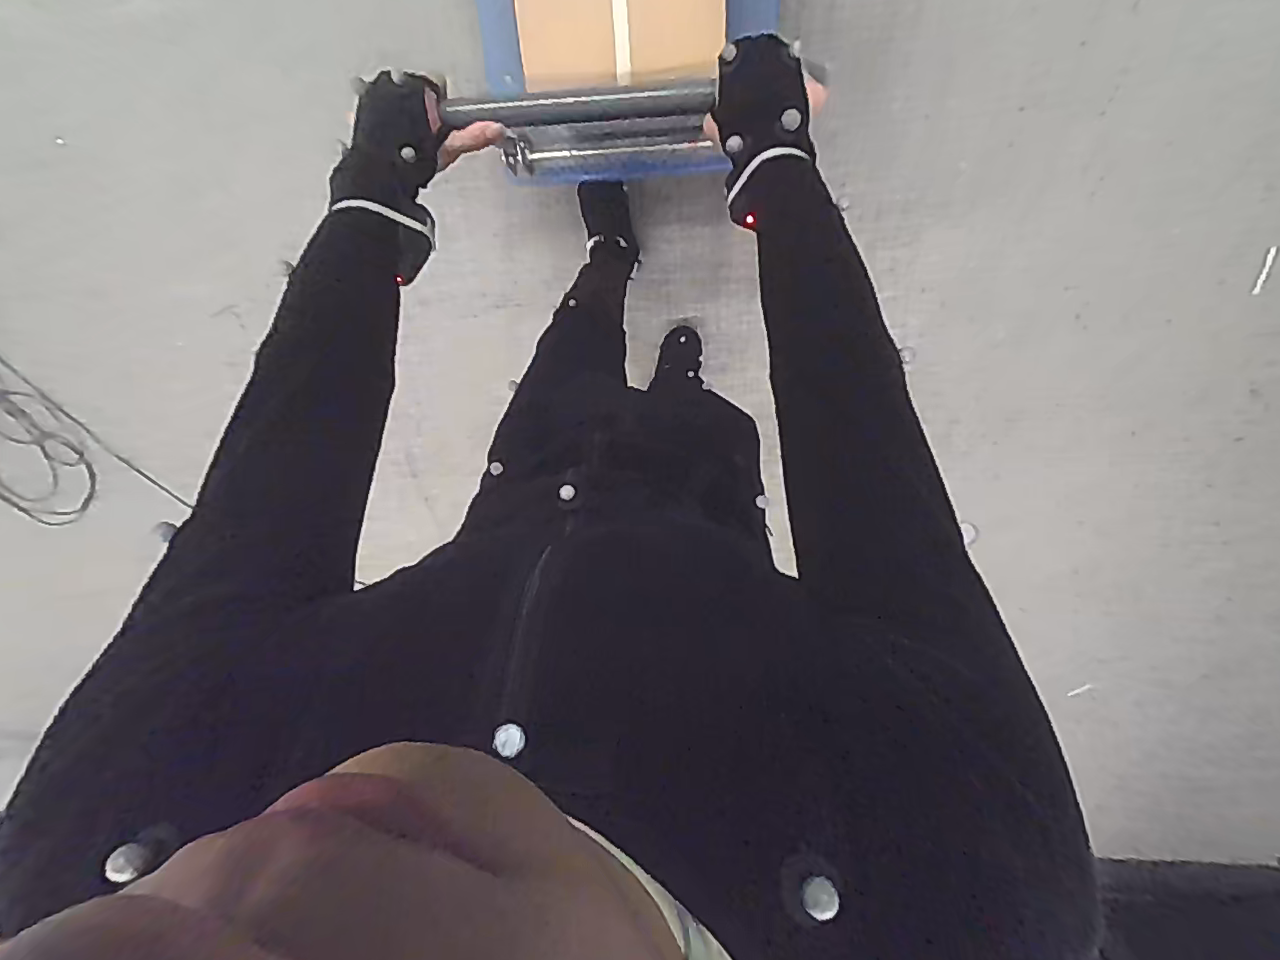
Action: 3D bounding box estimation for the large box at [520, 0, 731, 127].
[{"bbox_3d":[-0.017,-0.852,0.890,0.320,0.320,0.408,-1,116,5],"label":"large box"}]
